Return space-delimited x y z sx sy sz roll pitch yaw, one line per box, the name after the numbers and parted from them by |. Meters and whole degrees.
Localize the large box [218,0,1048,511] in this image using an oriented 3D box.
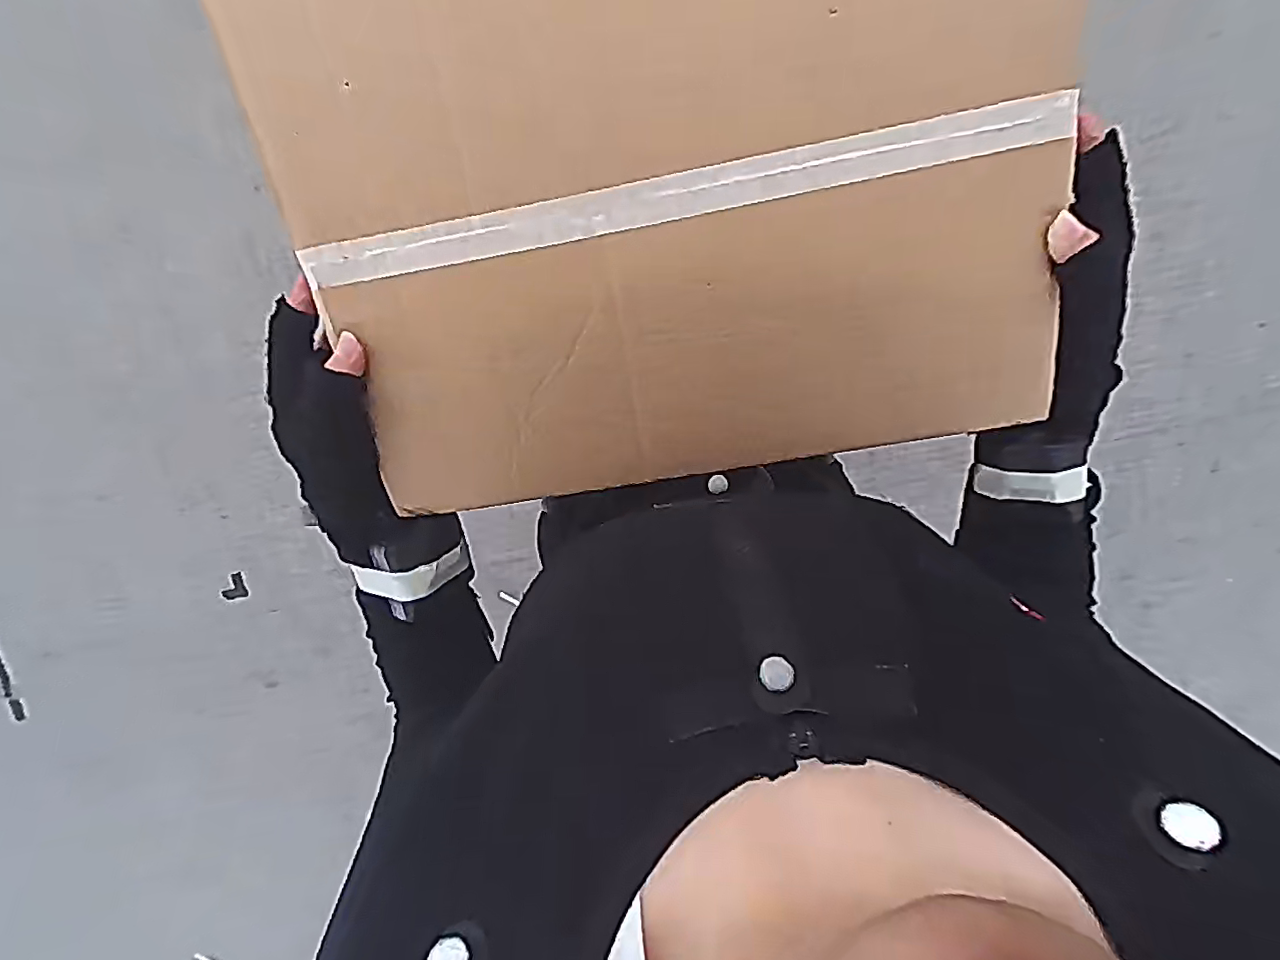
0.014 -0.205 0.434 0.408 0.320 0.320 -9 110 5 | large box
